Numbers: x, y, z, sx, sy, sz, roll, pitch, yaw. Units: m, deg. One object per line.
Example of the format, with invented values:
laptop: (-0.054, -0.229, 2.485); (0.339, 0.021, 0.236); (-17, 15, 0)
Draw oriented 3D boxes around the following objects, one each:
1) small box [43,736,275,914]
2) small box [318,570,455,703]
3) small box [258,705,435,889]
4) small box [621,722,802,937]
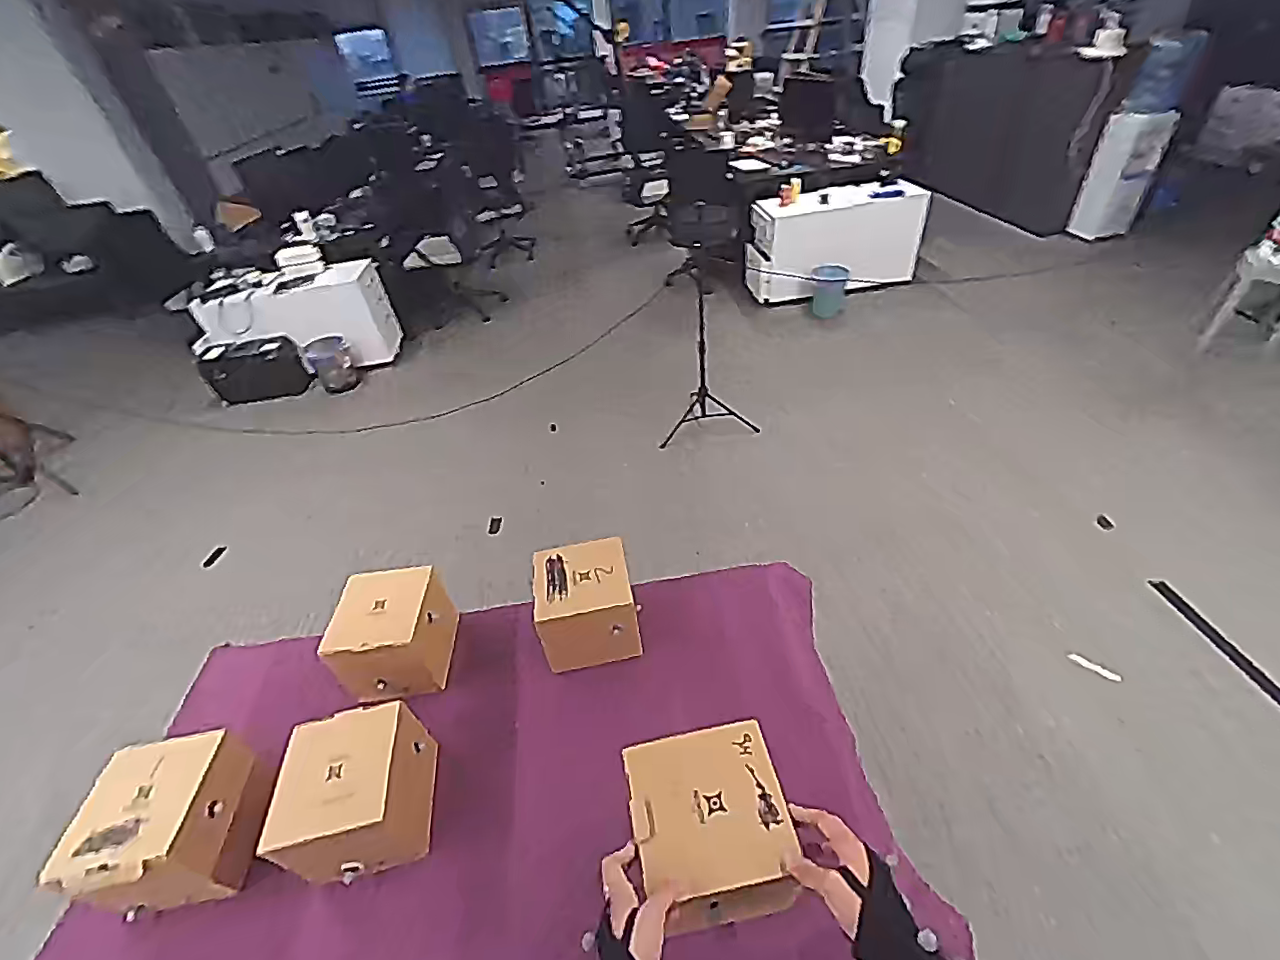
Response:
small box: (-0.697, 0.523, 0.816); (0.168, 0.176, 0.179); (-10, 39, -3)
small box: (-0.470, 0.300, 1.037); (0.168, 0.176, 0.179); (-7, 41, 0)
small box: (-0.426, 0.481, 0.824); (0.168, 0.176, 0.179); (-13, 40, -4)
small box: (0.082, 0.432, 0.668); (0.179, 0.176, 0.168); (-11, 42, -4)
